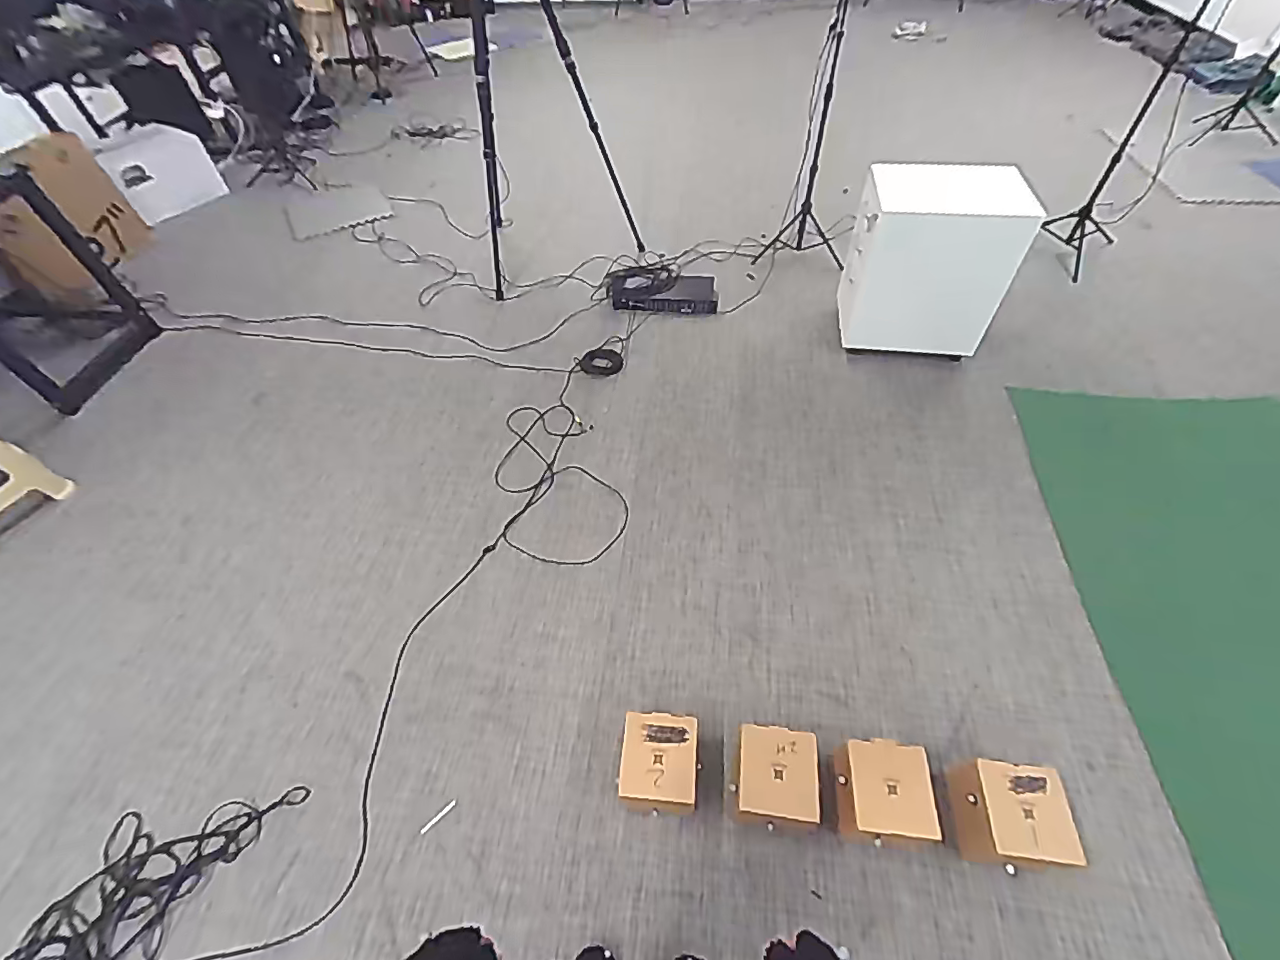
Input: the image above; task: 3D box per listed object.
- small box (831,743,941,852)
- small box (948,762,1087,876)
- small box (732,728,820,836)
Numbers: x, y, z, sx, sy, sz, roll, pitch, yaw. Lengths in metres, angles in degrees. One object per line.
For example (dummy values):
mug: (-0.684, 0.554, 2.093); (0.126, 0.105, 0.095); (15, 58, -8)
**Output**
small box: (0.530, 0.702, 1.190); (0.168, 0.176, 0.179); (4, 51, 5)
small box: (0.790, 0.727, 1.157); (0.168, 0.176, 0.179); (4, 52, 6)
small box: (0.300, 0.682, 1.214); (0.168, 0.176, 0.179); (5, 51, 6)
